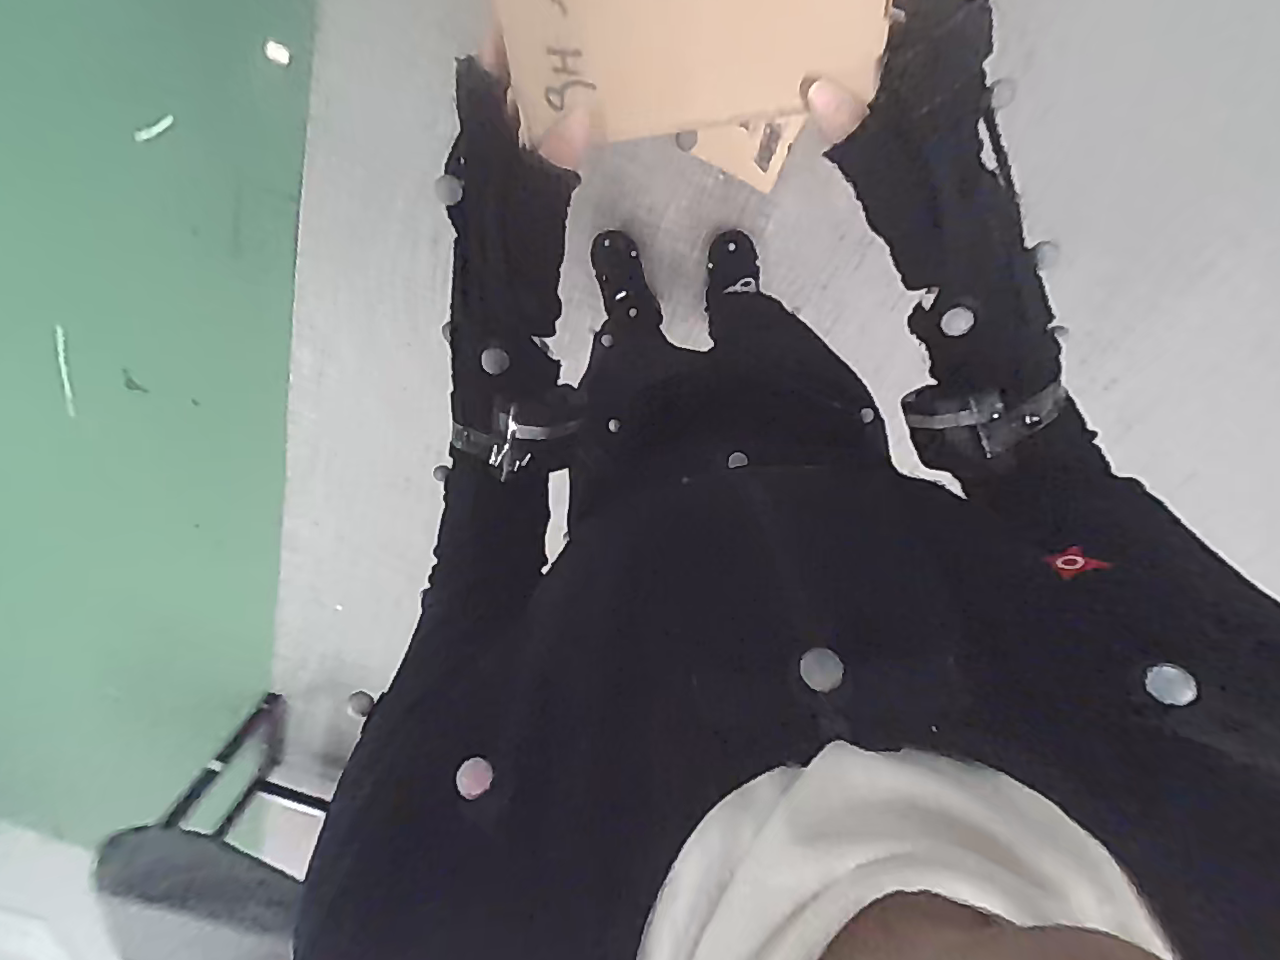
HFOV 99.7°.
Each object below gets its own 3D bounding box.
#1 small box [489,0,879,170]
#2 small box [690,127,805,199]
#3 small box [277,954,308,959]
[{"bbox_3d":[0.015,-0.282,0.291,0.179,0.176,0.168,-7,125,5],"label":"small box"},{"bbox_3d":[0.210,-0.674,1.055,0.179,0.176,0.168,21,121,-5],"label":"small box"},{"bbox_3d":[-1.116,1.649,1.719,0.179,0.176,0.168,20,122,-5],"label":"small box"}]
